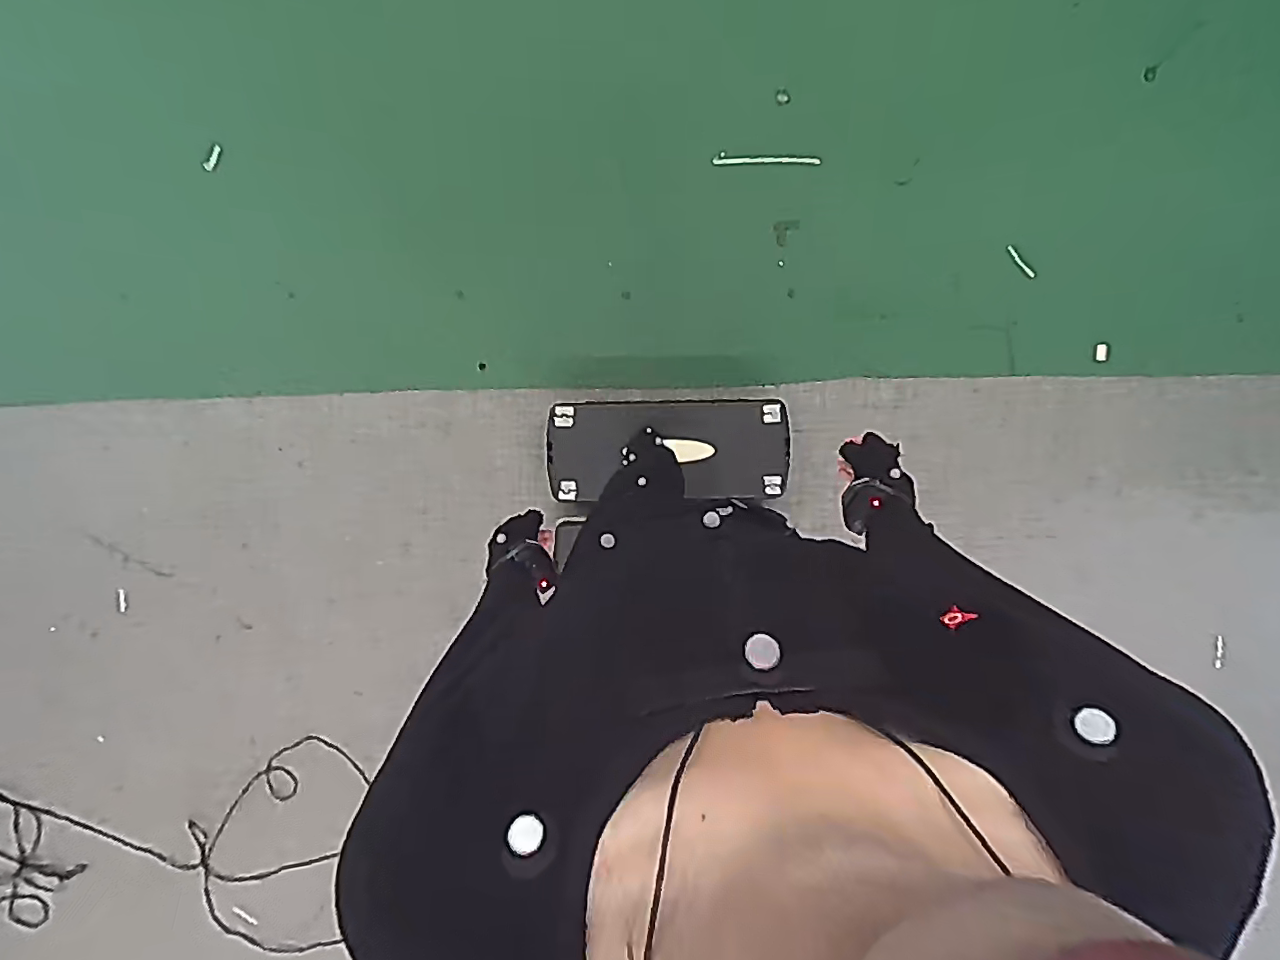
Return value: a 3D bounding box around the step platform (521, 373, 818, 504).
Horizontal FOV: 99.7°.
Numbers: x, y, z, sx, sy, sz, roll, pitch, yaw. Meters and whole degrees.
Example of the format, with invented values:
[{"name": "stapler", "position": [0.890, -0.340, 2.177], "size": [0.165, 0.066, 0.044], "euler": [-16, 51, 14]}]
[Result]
[{"name": "step platform", "position": [0.069, -0.102, 1.333], "size": [0.684, 0.204, 0.286], "euler": [-2, 95, 0]}]
